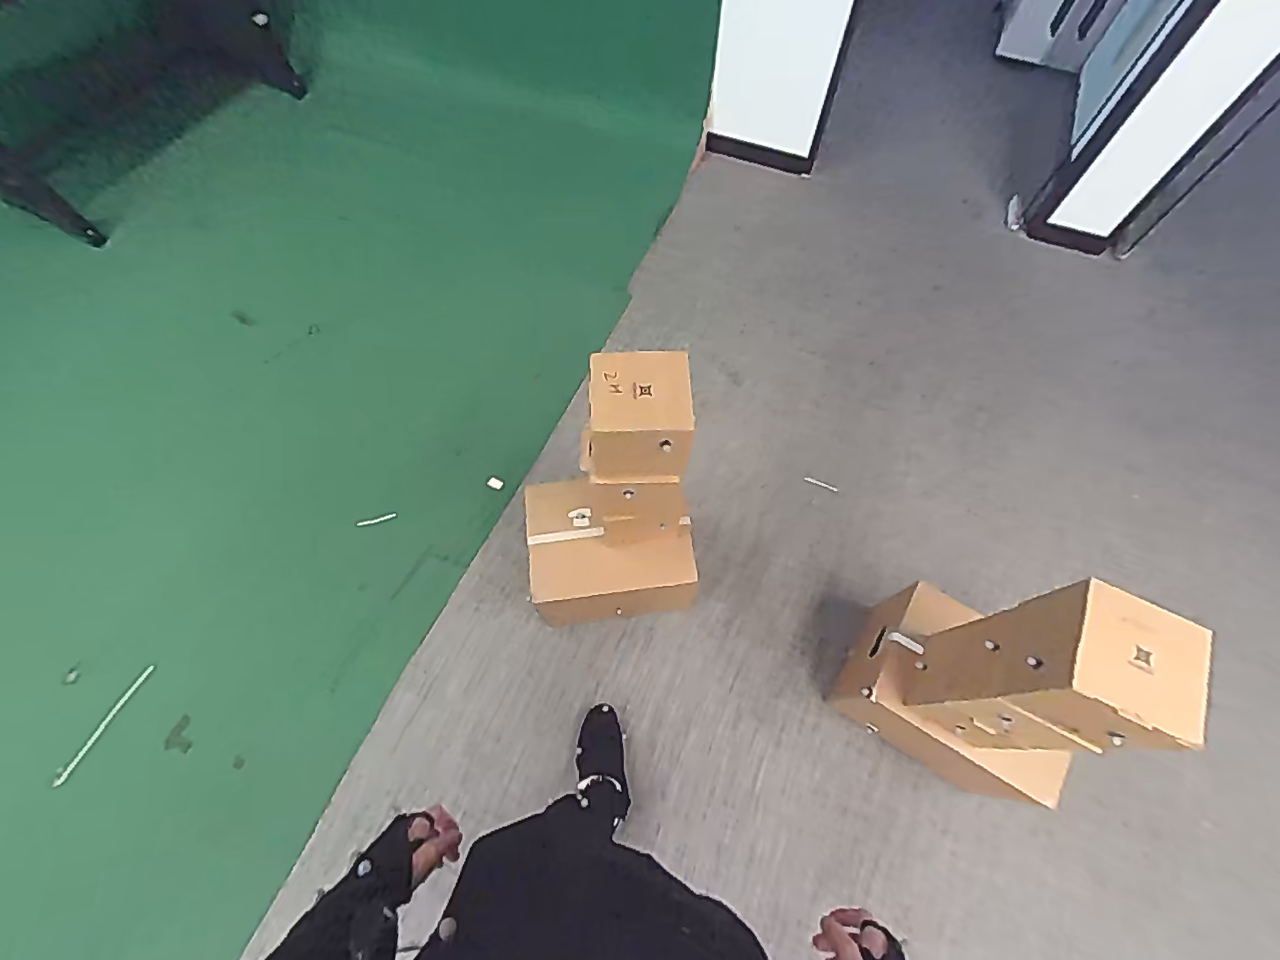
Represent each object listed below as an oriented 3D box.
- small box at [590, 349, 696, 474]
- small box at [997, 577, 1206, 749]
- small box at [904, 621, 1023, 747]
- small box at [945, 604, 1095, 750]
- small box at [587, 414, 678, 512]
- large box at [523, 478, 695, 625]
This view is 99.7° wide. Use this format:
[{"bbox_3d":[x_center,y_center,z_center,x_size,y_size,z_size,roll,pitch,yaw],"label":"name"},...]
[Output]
[{"bbox_3d":[0.001,-0.120,0.988,0.179,0.176,0.168,-1,64,-1],"label":"small box"},{"bbox_3d":[0.680,0.278,0.814,0.168,0.176,0.179,27,67,11],"label":"small box"},{"bbox_3d":[0.673,0.418,1.108,0.168,0.176,0.179,28,69,11],"label":"small box"},{"bbox_3d":[0.677,0.352,0.960,0.168,0.176,0.179,27,67,12],"label":"small box"},{"bbox_3d":[-0.014,-0.037,1.131,0.179,0.176,0.168,-1,65,-1],"label":"small box"},{"bbox_3d":[-0.082,0.190,1.476,0.408,0.320,0.320,-8,64,-3],"label":"large box"}]
